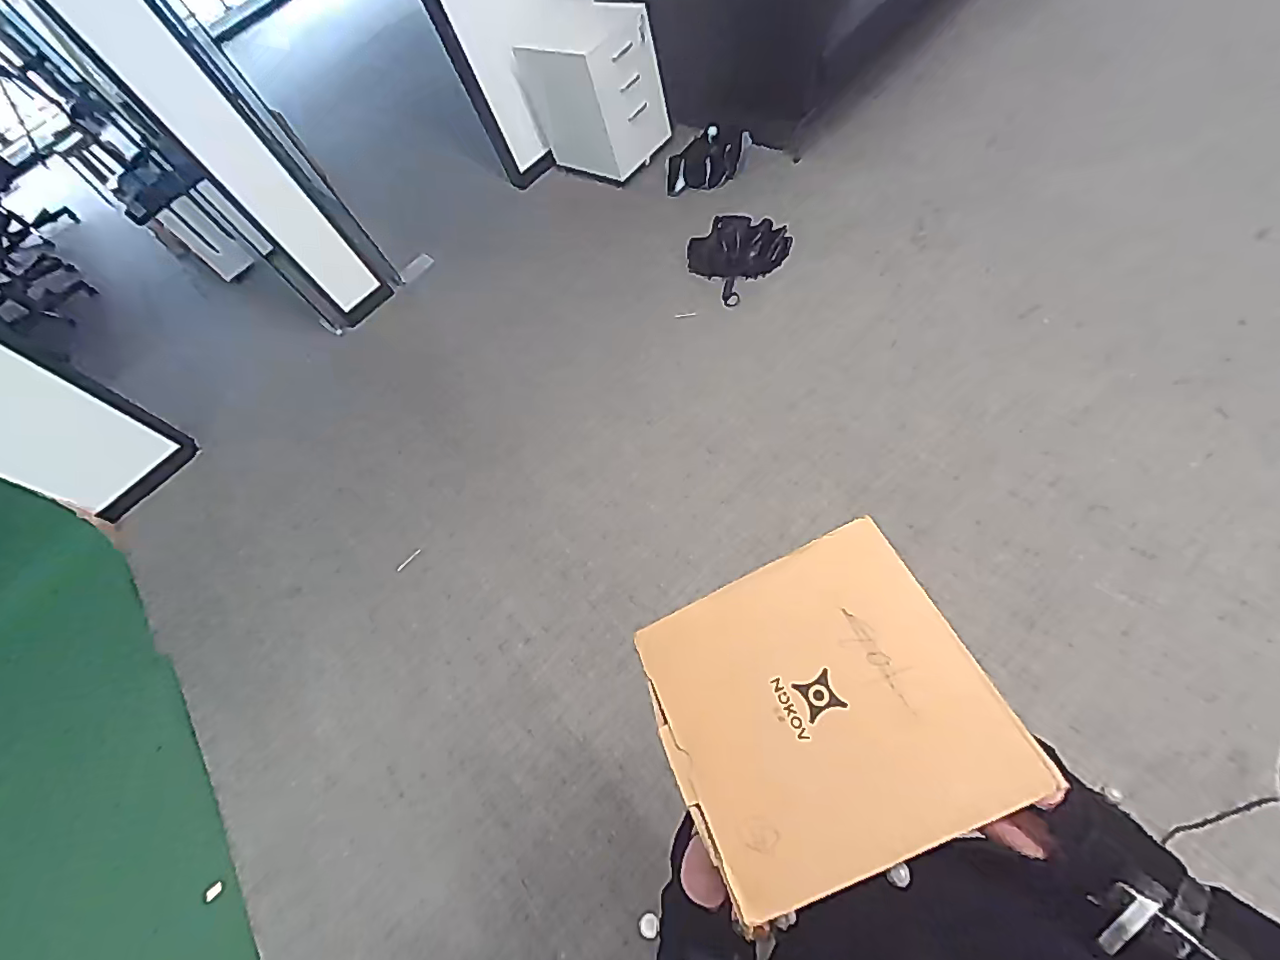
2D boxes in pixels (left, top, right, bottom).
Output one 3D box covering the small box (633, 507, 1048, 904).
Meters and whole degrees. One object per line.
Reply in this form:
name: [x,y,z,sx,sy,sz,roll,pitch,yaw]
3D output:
small box: [0.123,0.153,0.380,0.179,0.176,0.168,-29,59,4]
